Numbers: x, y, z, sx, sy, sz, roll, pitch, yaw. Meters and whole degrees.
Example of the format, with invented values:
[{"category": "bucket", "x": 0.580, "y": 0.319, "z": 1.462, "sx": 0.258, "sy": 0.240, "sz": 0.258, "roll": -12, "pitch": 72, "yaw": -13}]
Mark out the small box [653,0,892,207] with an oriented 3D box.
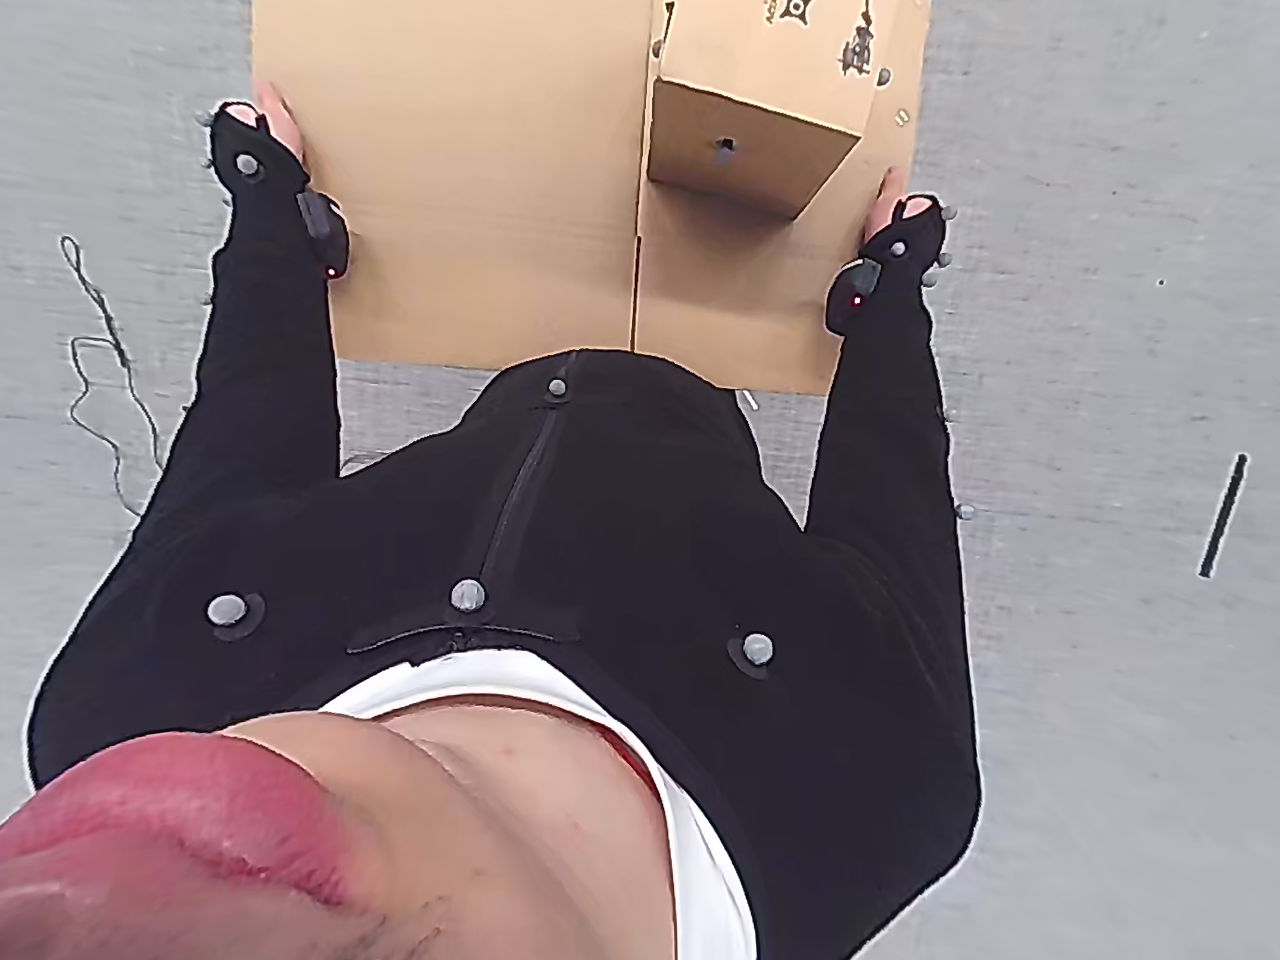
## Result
[{"category": "small box", "x": 0.113, "y": -0.389, "z": 0.514, "sx": 0.179, "sy": 0.176, "sz": 0.168, "roll": 14, "pitch": 95, "yaw": -2}]
